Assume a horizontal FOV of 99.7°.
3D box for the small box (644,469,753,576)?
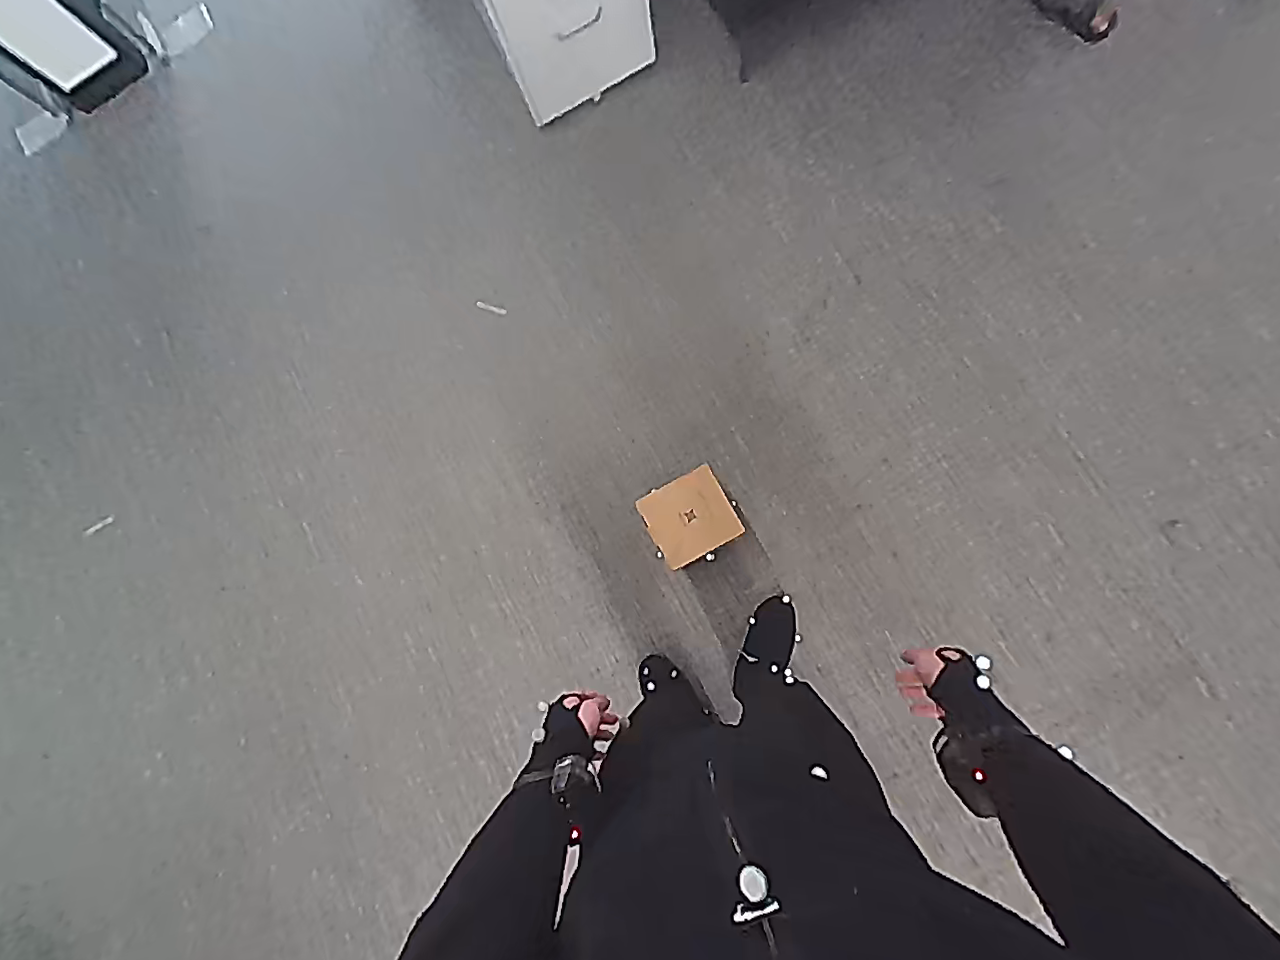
[{"bbox_3d":[0.131,0.100,1.191,0.179,0.176,0.168,-30,78,2],"label":"small box"}]
